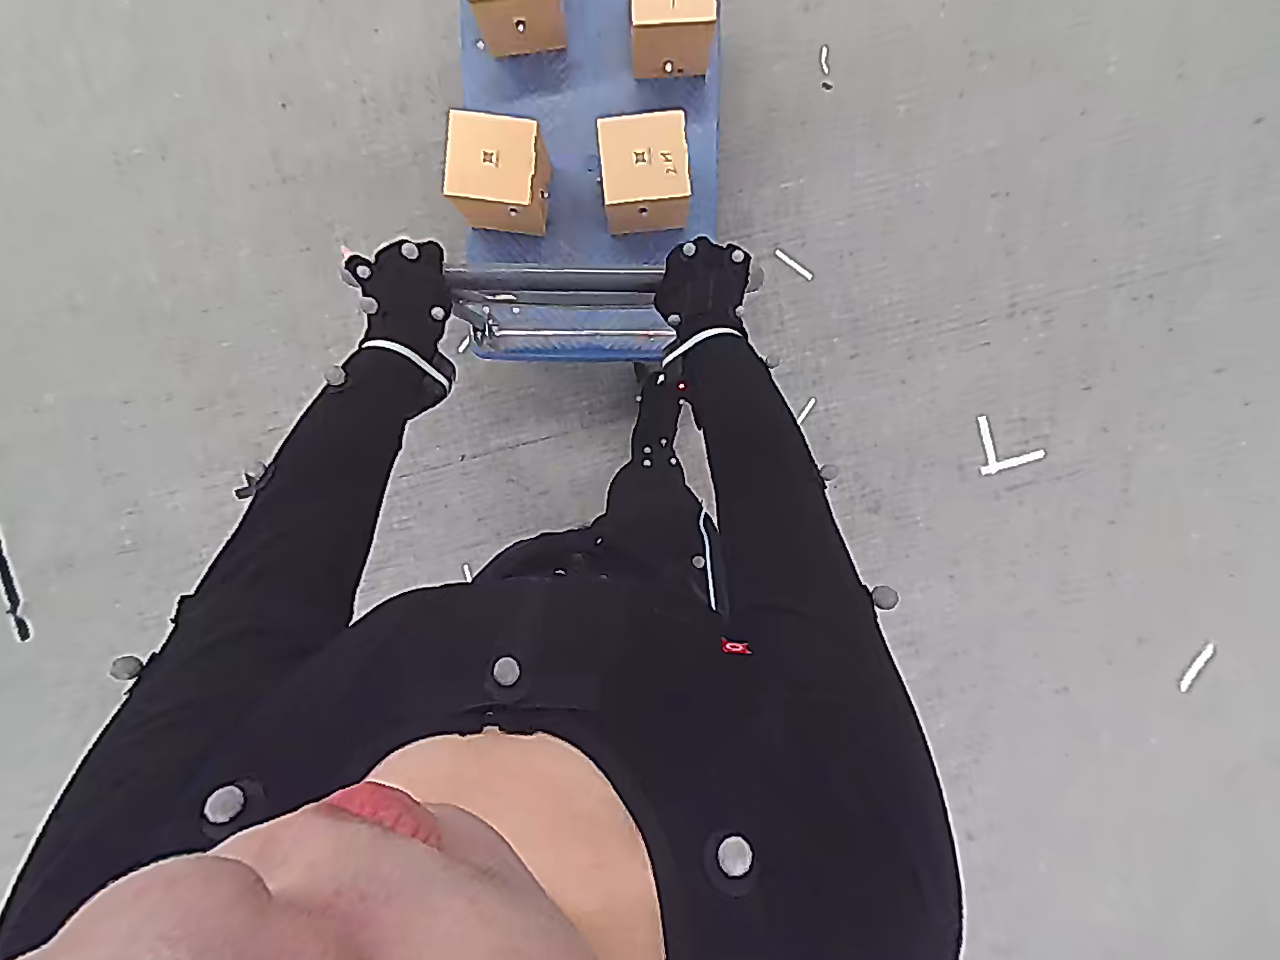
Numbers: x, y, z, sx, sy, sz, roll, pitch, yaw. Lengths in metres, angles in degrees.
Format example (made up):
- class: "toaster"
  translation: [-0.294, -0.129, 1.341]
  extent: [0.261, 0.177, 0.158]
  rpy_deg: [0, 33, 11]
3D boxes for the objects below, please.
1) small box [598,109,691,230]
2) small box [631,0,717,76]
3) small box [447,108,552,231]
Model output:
- class: "small box"
  translation: [0.012, -0.652, 1.156]
  extent: [0.179, 0.176, 0.168]
  rpy_deg: [-5, 95, 1]
- class: "small box"
  translation: [0.066, -0.987, 1.124]
  extent: [0.168, 0.176, 0.179]
  rpy_deg: [-3, 96, 1]
- class: "small box"
  translation: [-0.293, -0.653, 1.155]
  extent: [0.179, 0.176, 0.168]
  rpy_deg: [6, 95, -2]
